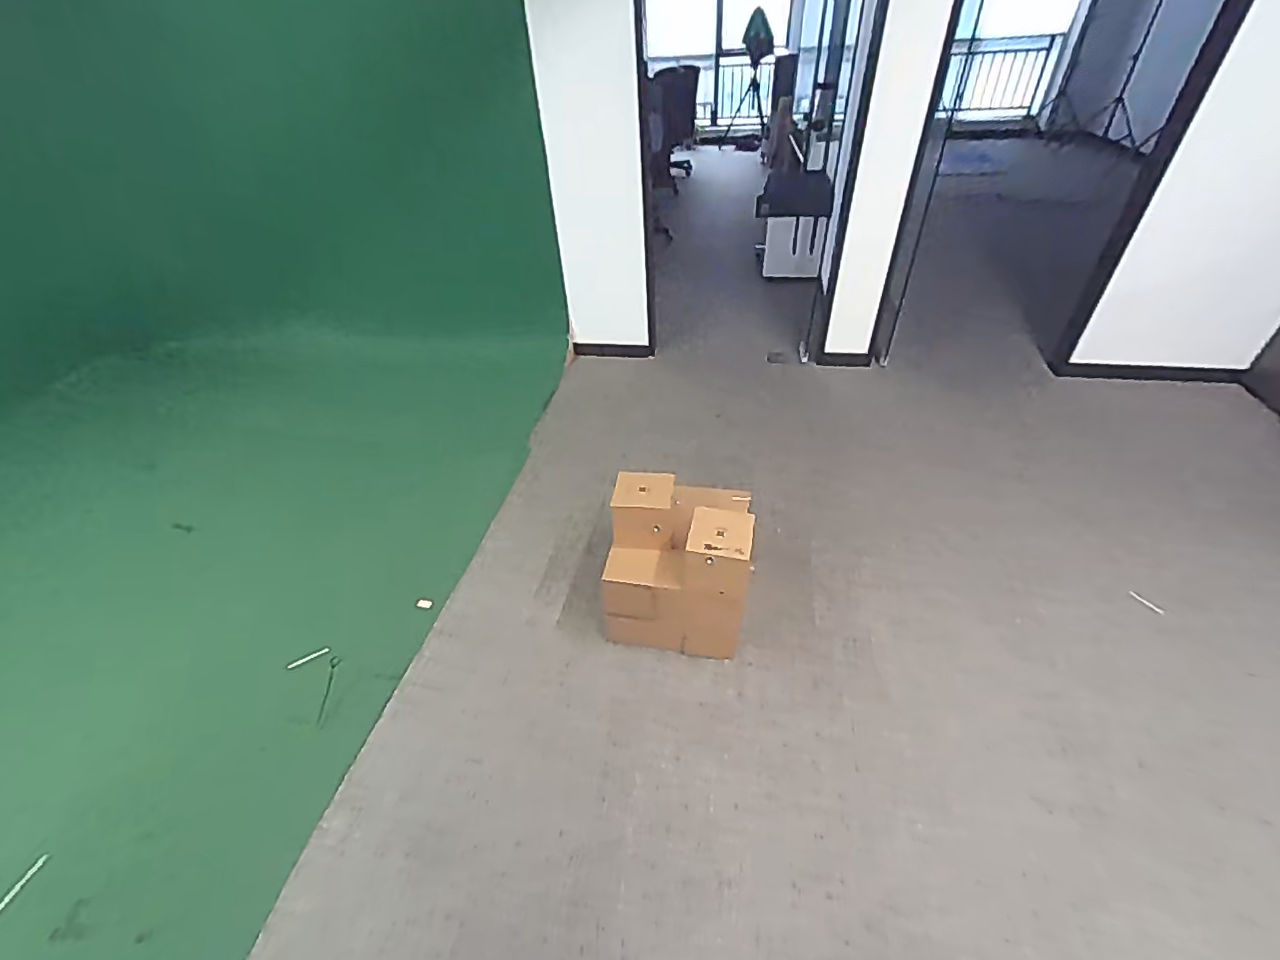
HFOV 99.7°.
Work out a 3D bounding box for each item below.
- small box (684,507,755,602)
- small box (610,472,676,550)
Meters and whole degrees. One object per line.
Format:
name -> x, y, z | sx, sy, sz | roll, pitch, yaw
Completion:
small box -> 0.216, 0.203, 1.483 | 0.168, 0.176, 0.179 | 8, 40, 13
small box -> 0.014, 0.096, 1.634 | 0.179, 0.176, 0.168 | 3, 38, 9
